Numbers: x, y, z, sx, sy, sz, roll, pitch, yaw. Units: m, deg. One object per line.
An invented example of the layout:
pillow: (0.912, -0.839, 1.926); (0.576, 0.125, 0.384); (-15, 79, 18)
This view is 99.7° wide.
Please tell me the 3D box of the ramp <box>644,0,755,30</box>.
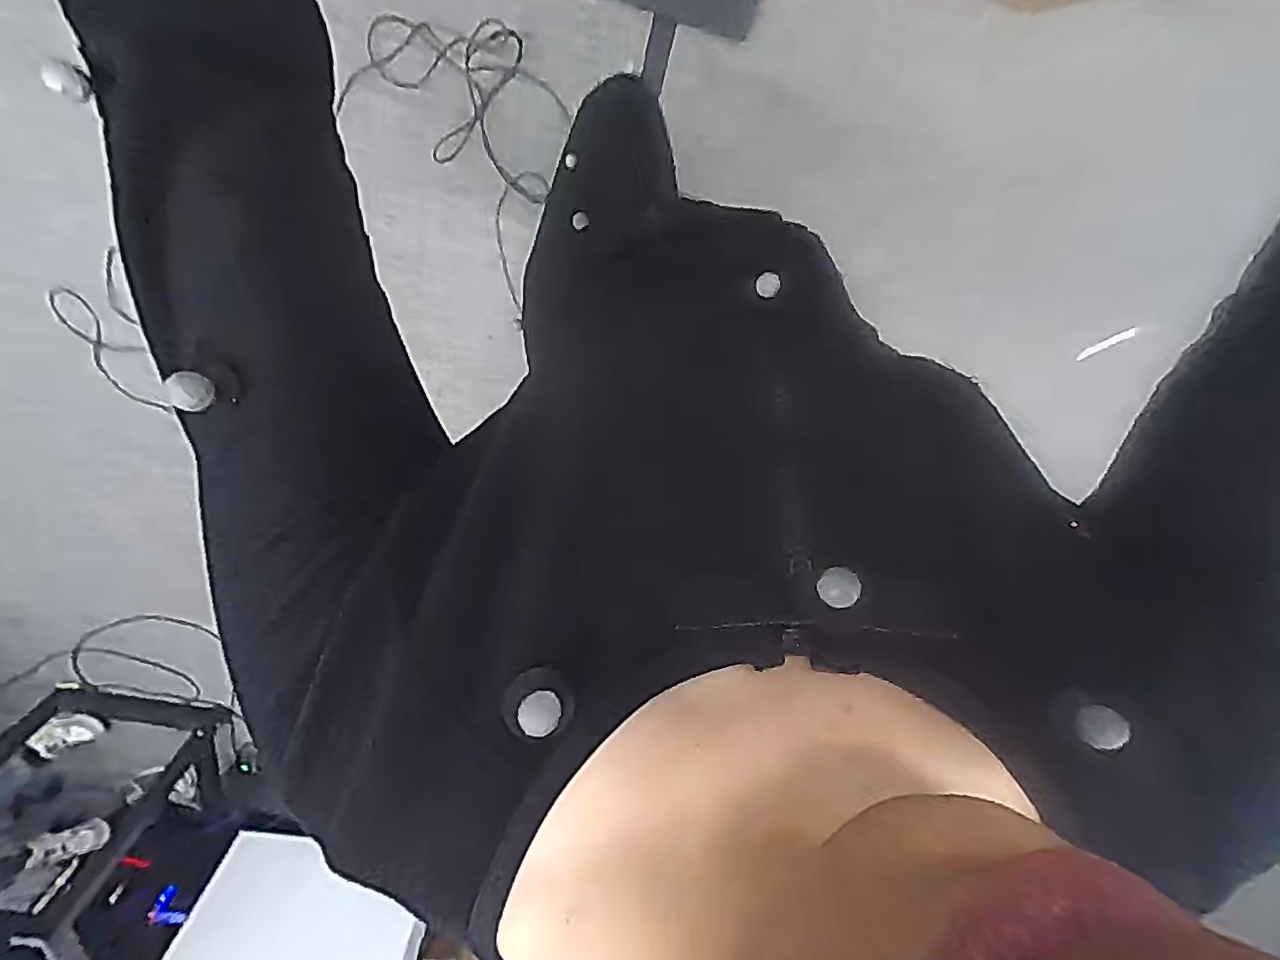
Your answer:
ramp: (0.106, -1.335, 0.768); (0.509, 0.206, 0.991); (10, 119, -8)
